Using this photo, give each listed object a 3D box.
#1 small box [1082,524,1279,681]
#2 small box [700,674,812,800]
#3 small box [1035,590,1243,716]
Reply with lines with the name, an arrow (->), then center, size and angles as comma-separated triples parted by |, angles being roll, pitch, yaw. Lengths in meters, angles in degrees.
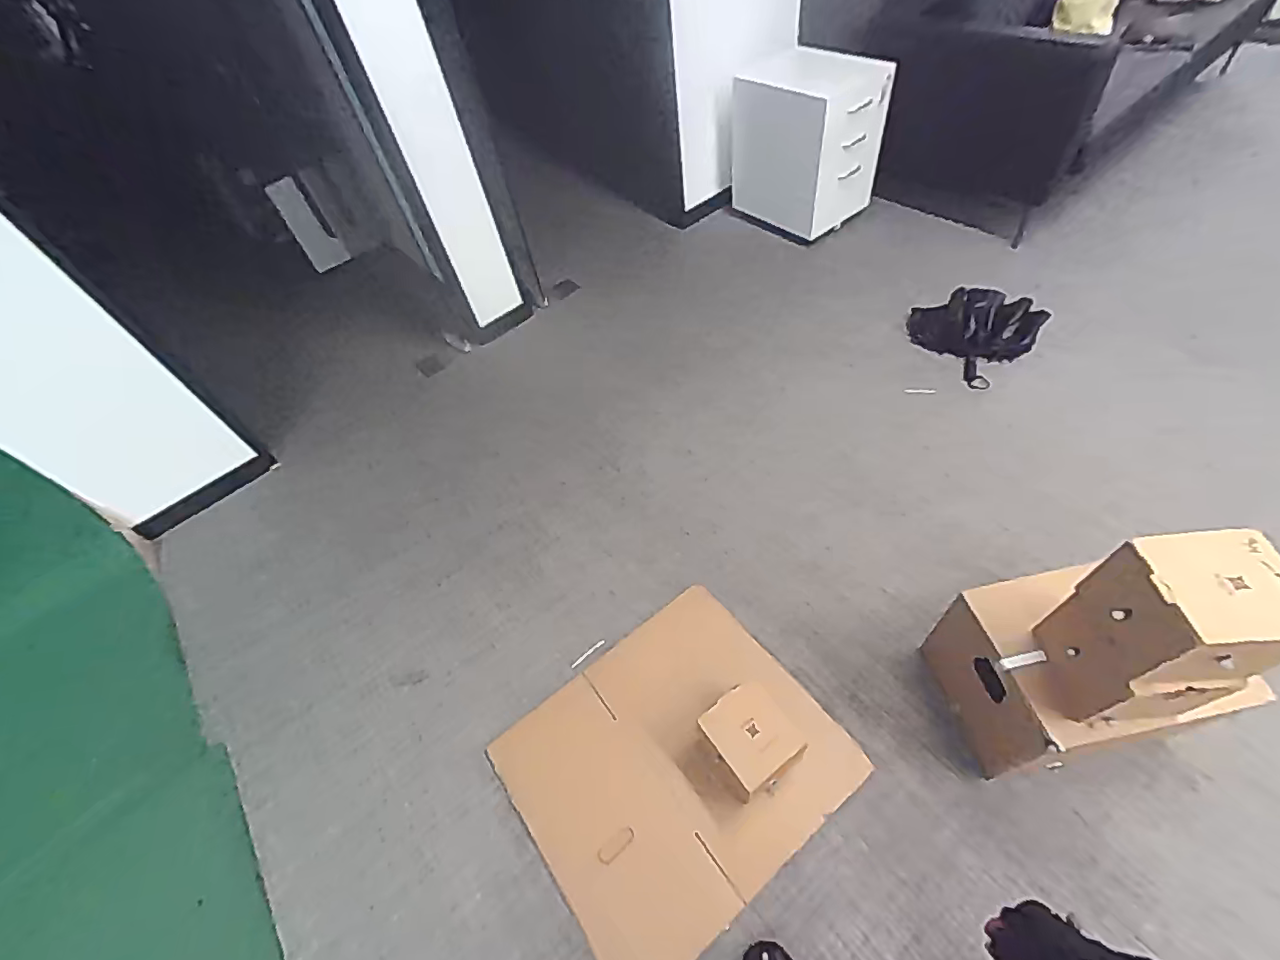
small box -> 0.817, 0.189, 0.811 | 0.179, 0.176, 0.168 | -7, 50, 3
small box -> 0.252, 0.572, 1.196 | 0.168, 0.176, 0.179 | -34, 55, -15
small box -> 0.834, 0.297, 0.930 | 0.168, 0.176, 0.179 | -7, 52, 4
